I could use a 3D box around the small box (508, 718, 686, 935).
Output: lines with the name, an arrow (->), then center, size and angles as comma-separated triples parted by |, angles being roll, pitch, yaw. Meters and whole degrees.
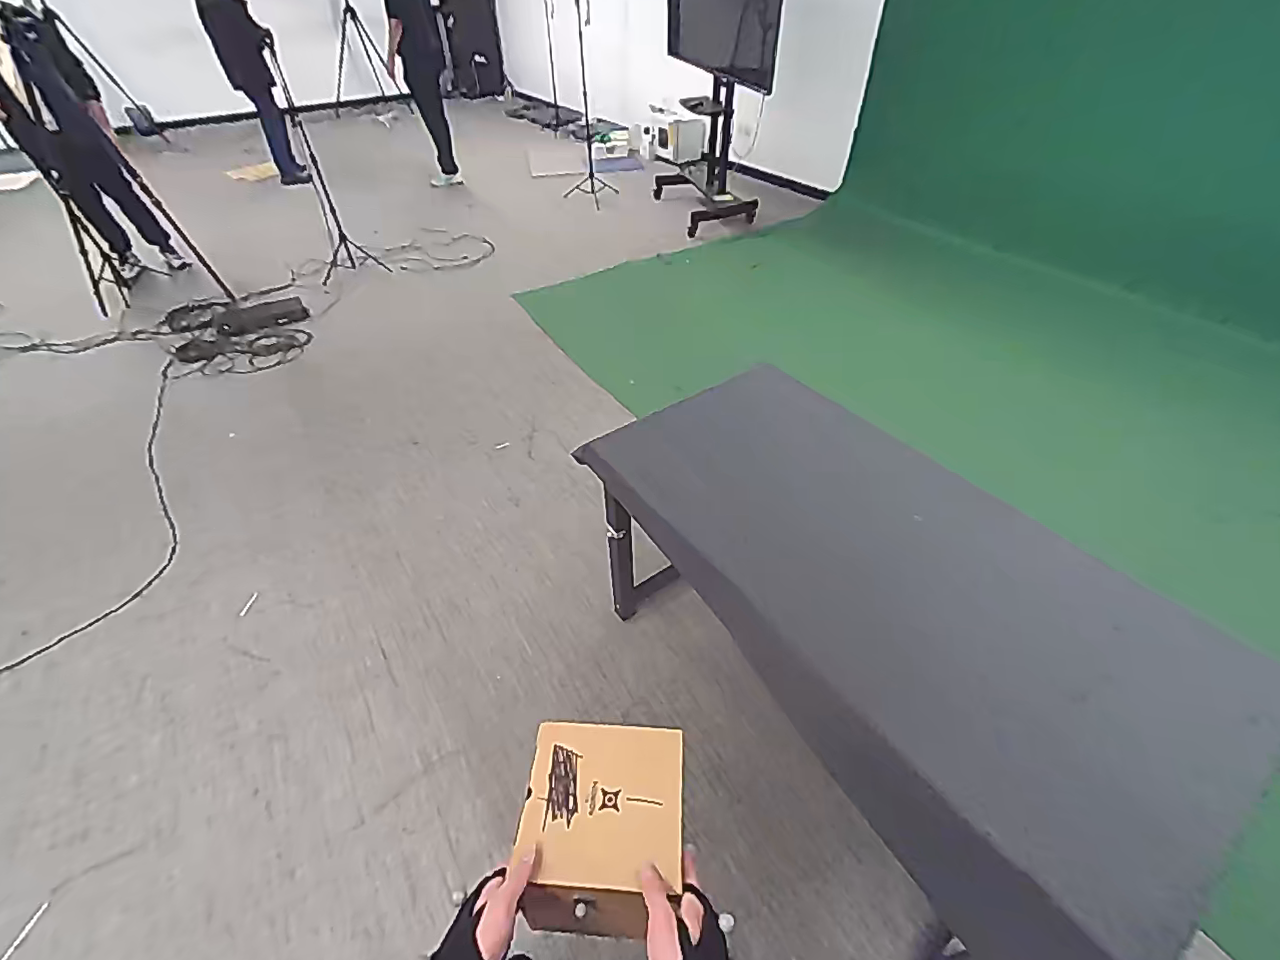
small box -> -0.037, 0.404, 0.632 | 0.179, 0.176, 0.168 | 2, 38, 3
